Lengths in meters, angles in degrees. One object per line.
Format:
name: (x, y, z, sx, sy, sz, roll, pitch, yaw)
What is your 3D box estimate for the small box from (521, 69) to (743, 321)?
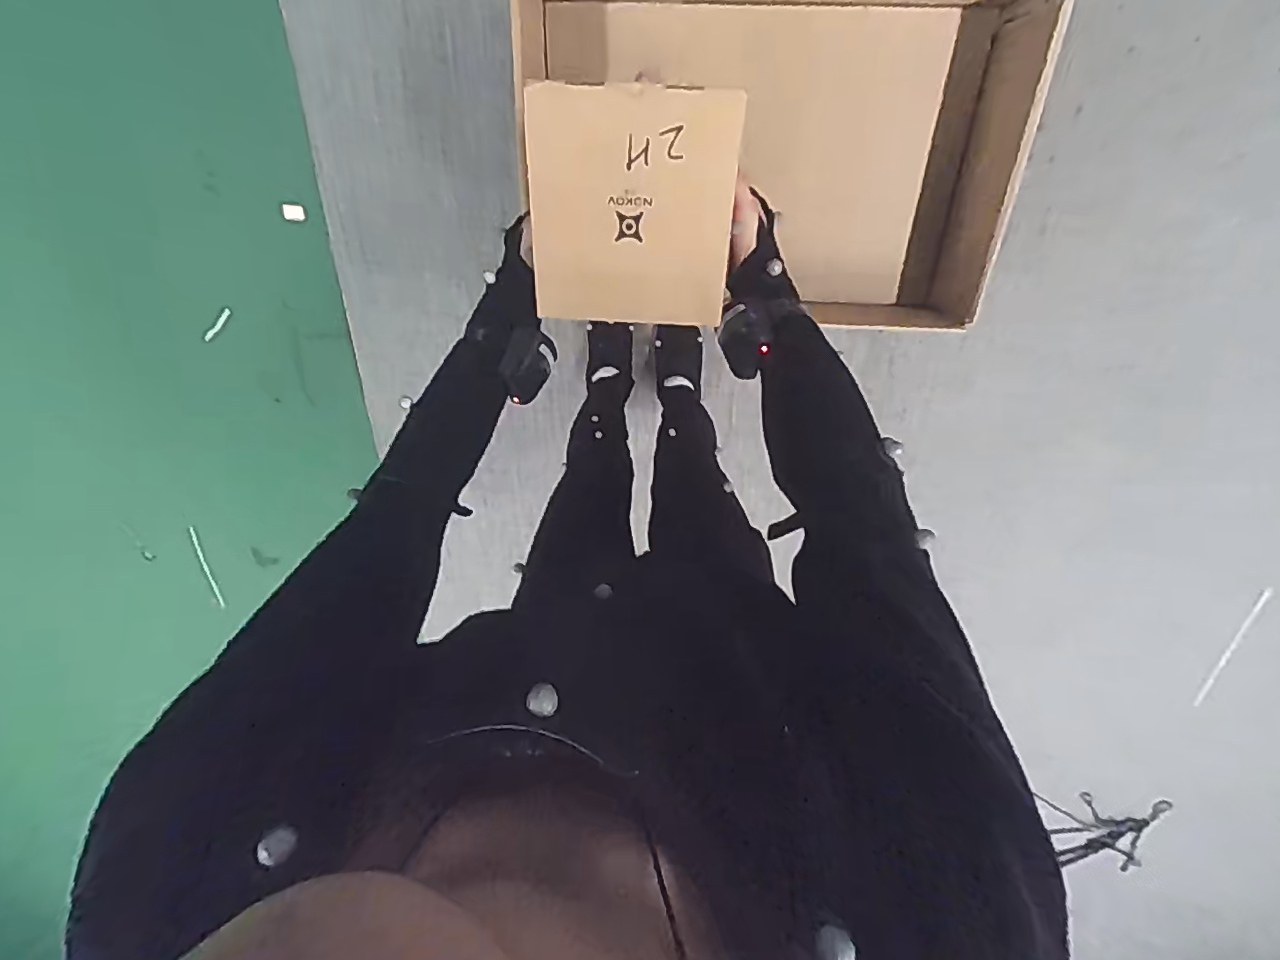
small box: (-0.004, -0.260, 0.501, 0.168, 0.176, 0.179, 3, 120, 2)
